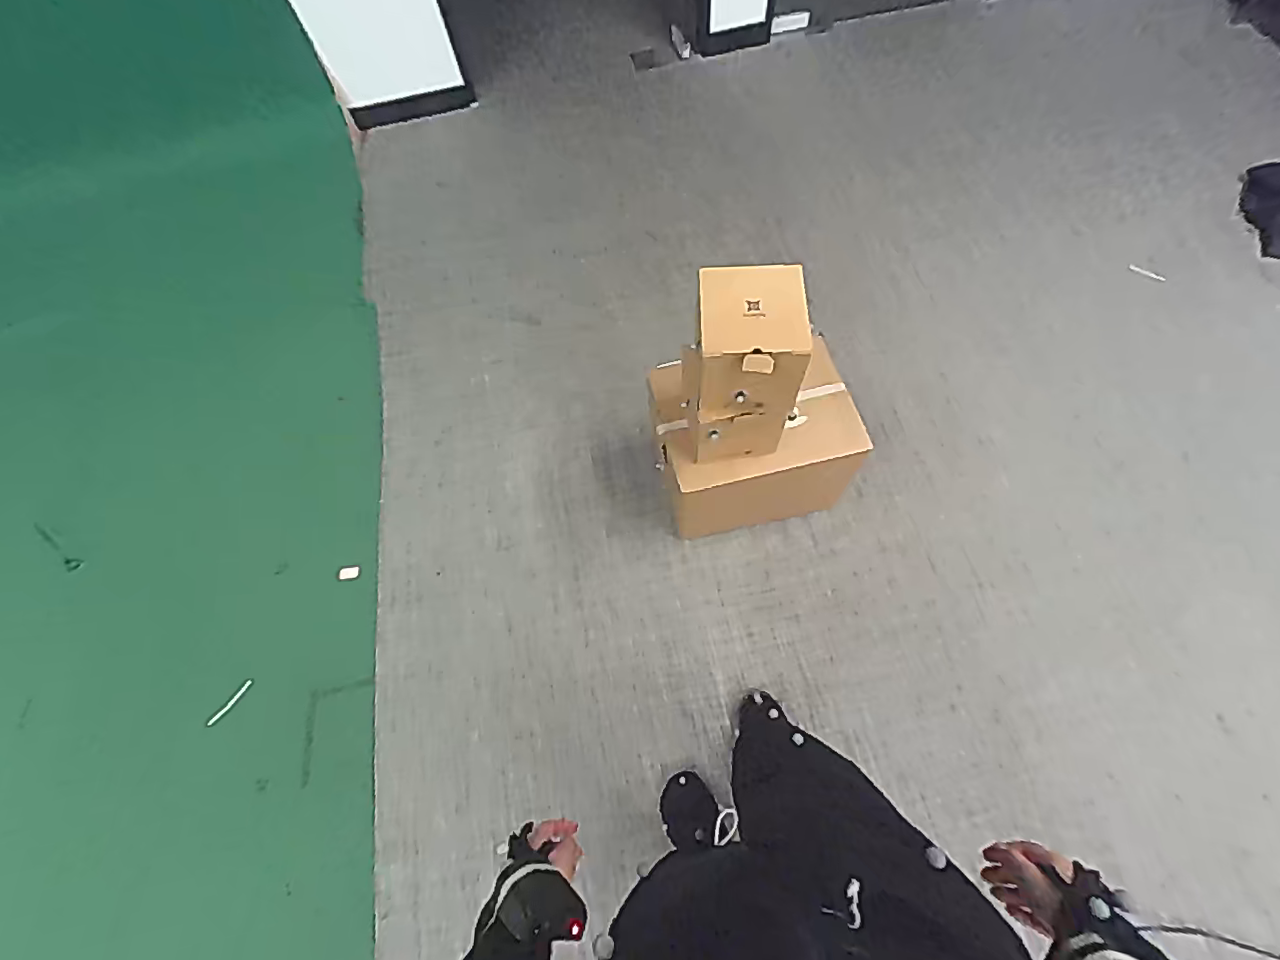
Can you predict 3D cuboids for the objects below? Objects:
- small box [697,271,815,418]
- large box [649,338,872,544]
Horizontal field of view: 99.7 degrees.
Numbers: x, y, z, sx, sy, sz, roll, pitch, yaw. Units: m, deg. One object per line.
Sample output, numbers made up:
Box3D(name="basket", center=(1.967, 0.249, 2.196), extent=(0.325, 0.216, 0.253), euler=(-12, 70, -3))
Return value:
Box3D(name="small box", center=(0.182, -0.222, 0.902), extent=(0.168, 0.176, 0.179), euler=(0, 65, 4))
Box3D(name="large box", center=(0.252, -0.079, 1.280), extent=(0.408, 0.320, 0.320), euler=(-13, 66, -3))
